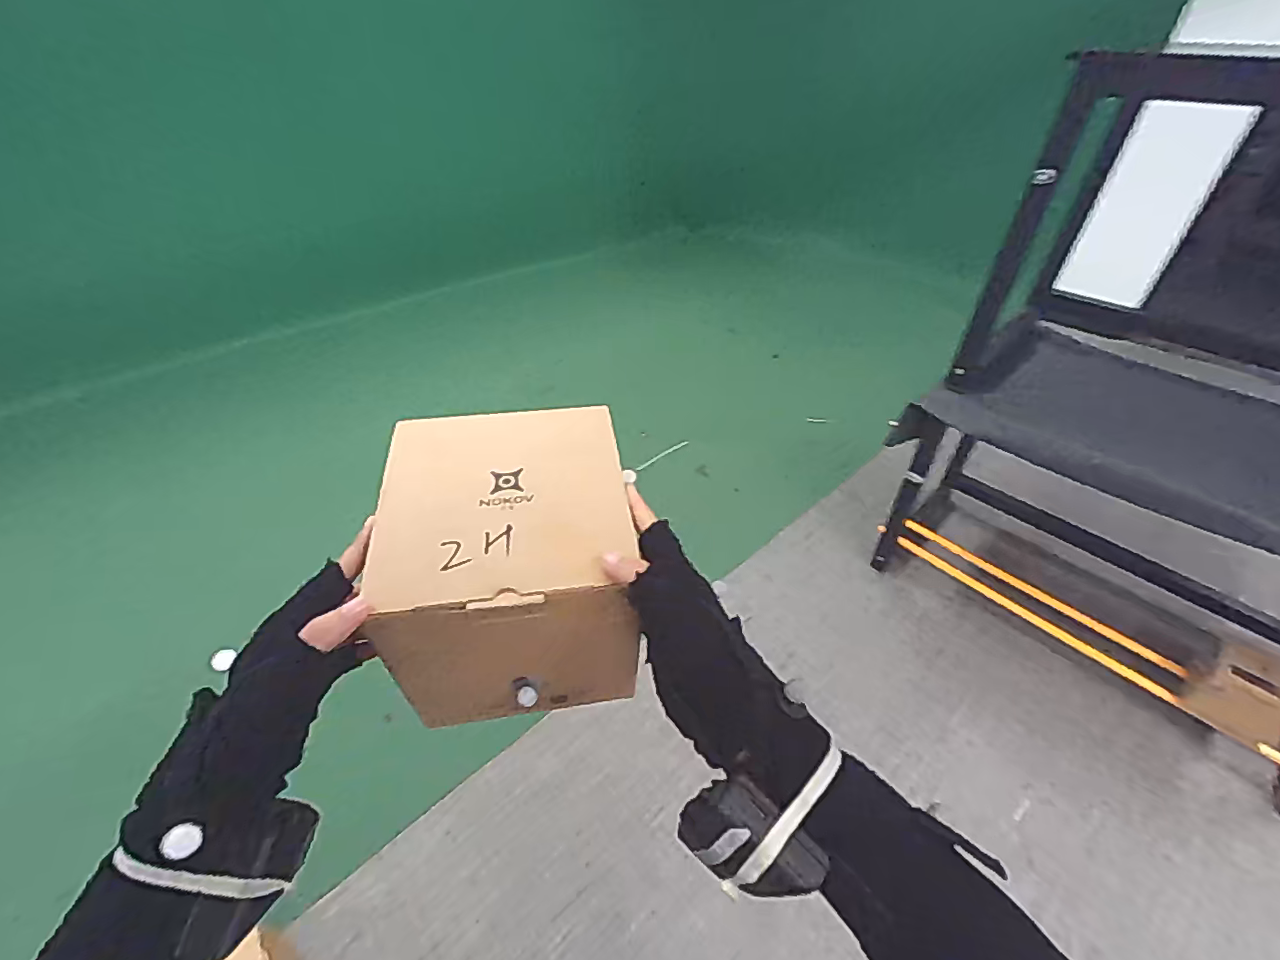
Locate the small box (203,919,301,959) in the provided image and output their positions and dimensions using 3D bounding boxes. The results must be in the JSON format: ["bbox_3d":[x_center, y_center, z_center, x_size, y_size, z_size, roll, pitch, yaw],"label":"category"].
[{"bbox_3d":[-0.762,1.001,1.028,0.179,0.176,0.168,-29,49,-31],"label":"small box"}]

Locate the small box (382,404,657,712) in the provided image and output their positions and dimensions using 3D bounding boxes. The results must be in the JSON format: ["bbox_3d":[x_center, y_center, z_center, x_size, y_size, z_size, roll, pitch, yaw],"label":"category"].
[{"bbox_3d":[-0.085,0.060,0.436,0.168,0.176,0.179,-5,45,-8],"label":"small box"}]
